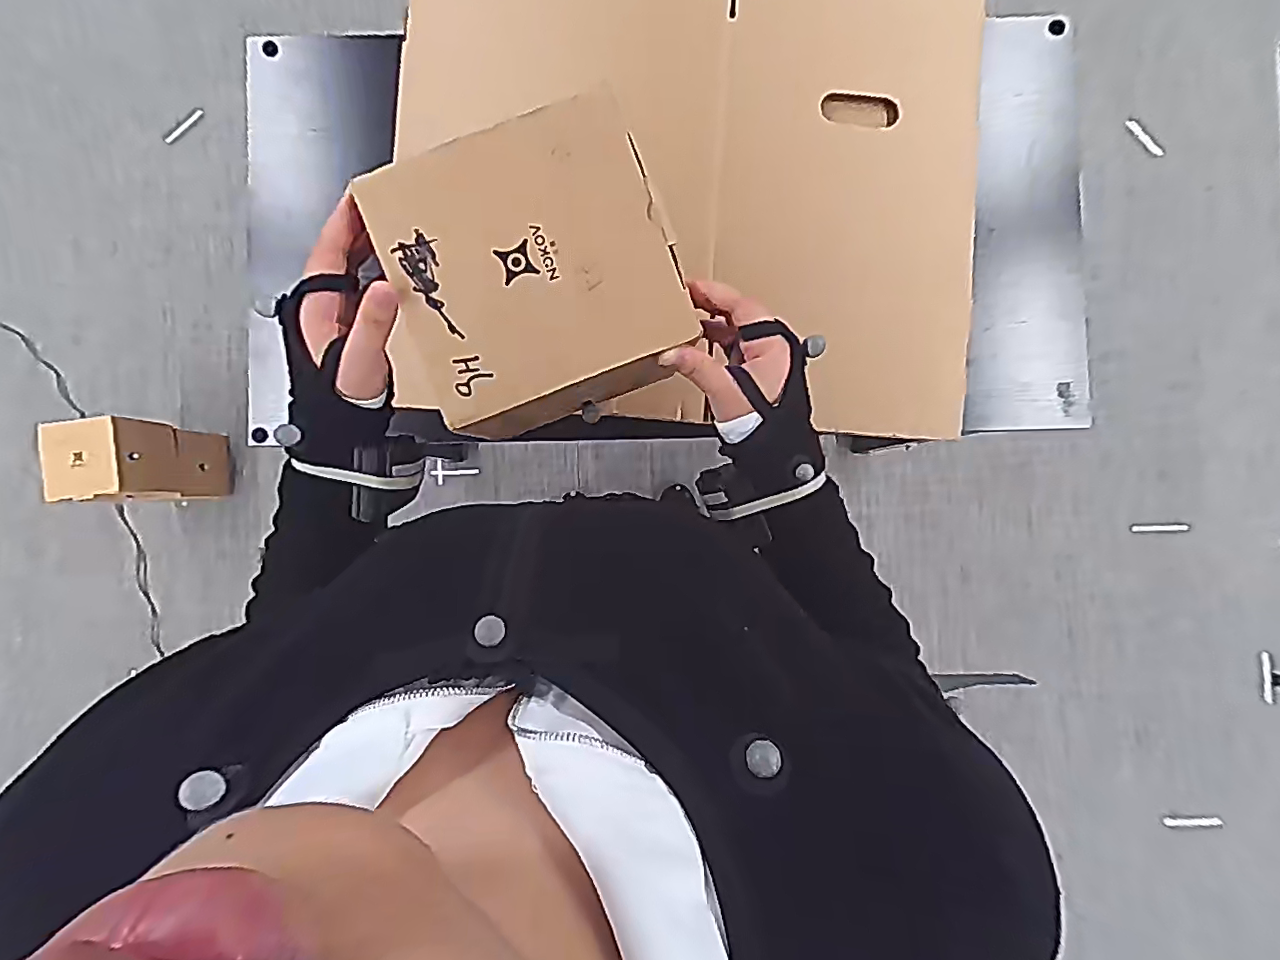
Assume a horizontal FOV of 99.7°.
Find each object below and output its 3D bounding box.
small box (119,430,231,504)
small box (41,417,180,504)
[{"bbox_3d":[-1.230,-0.030,1.434,0.168,0.176,0.179,-5,89,0],"label":"small box"},{"bbox_3d":[-1.232,-0.042,1.271,0.168,0.176,0.179,-8,87,-1],"label":"small box"}]
